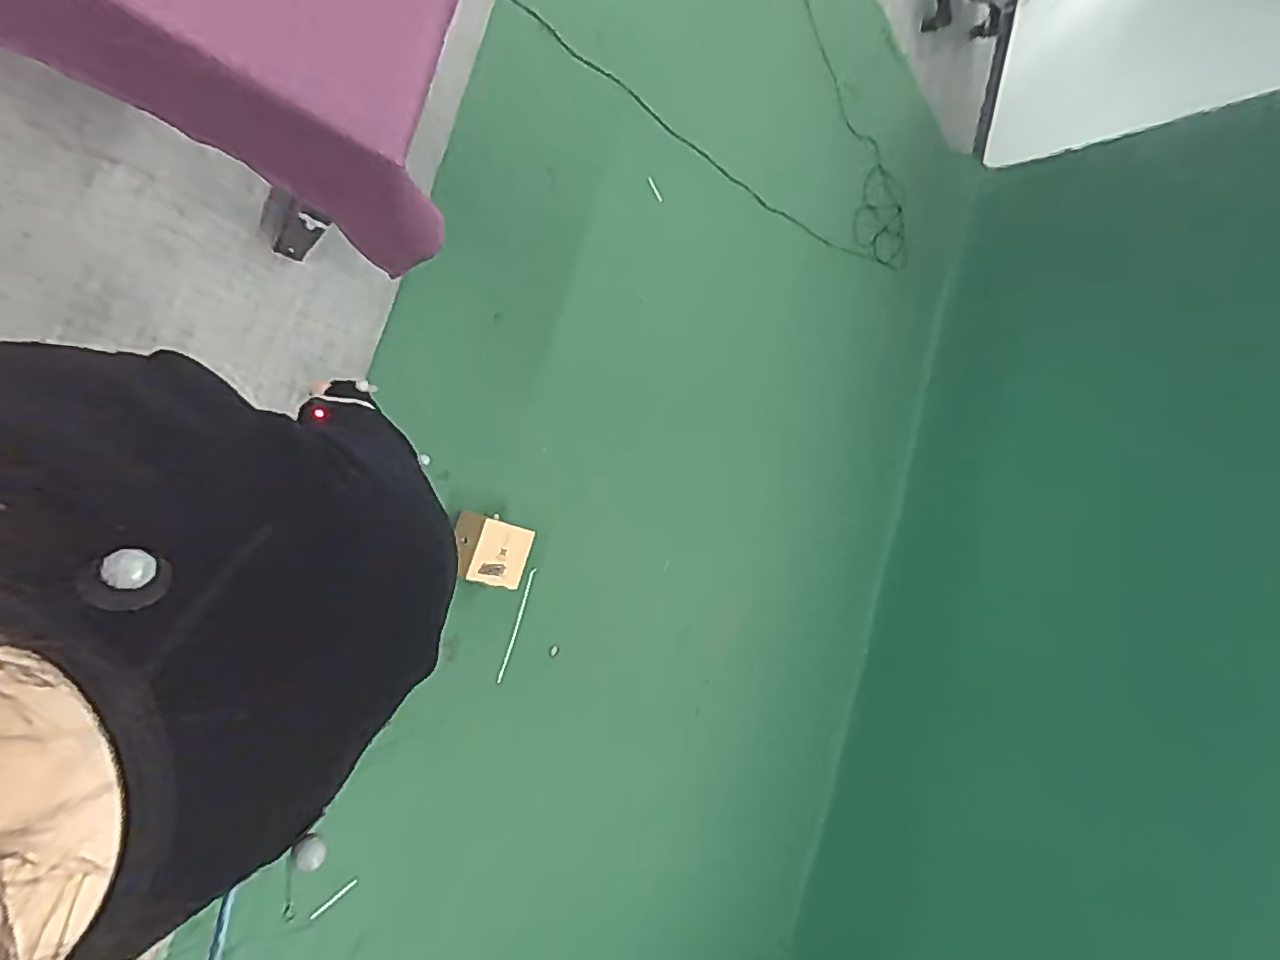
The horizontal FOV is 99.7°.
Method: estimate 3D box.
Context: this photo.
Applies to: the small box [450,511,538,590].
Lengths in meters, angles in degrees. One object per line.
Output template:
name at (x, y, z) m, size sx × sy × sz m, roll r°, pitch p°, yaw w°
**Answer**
small box at (-0.429, 0.202, 1.569) m, size 0.168 × 0.176 × 0.179 m, roll 23°, pitch 79°, yaw -40°
